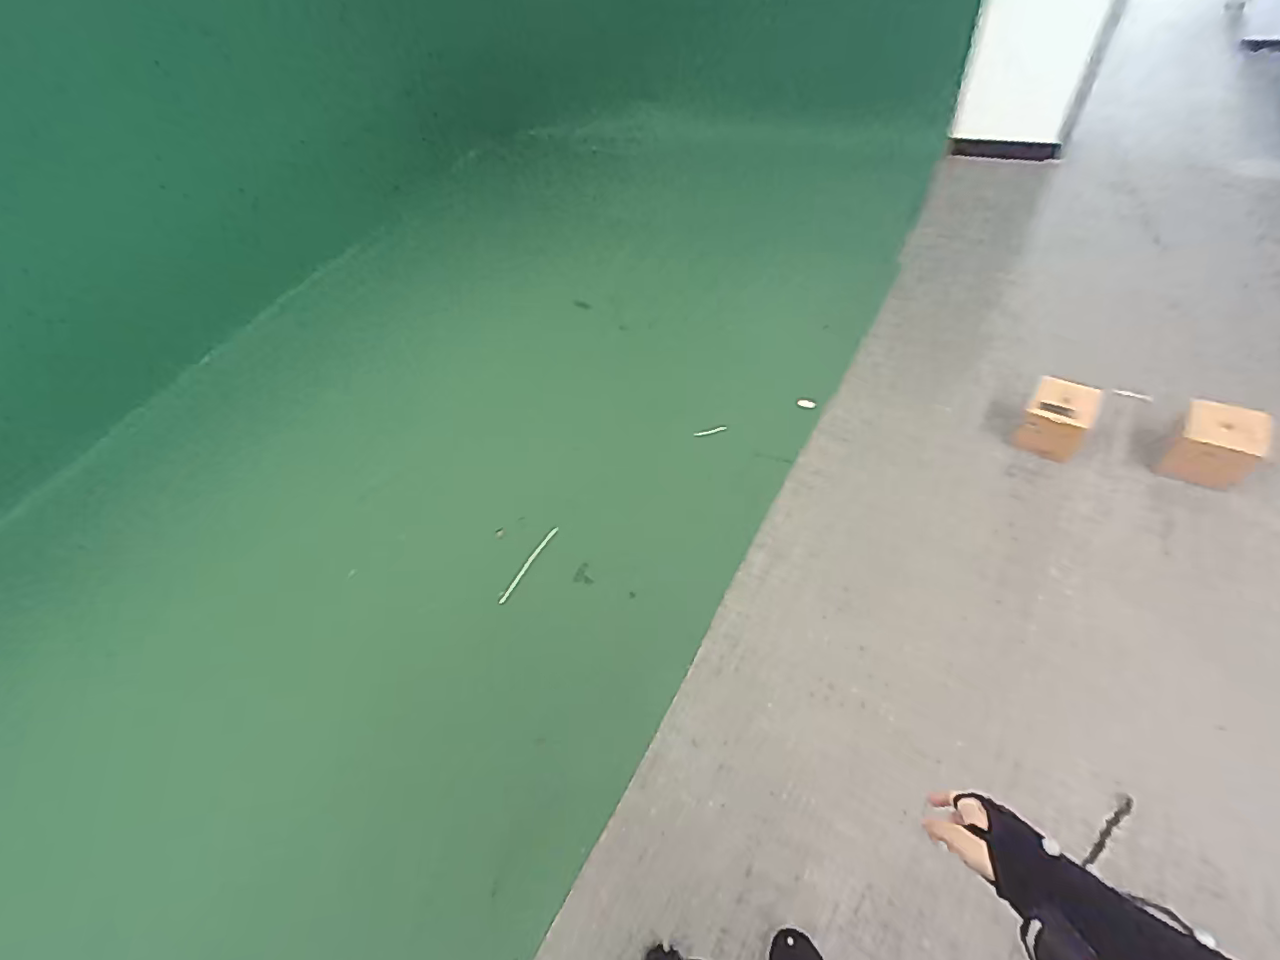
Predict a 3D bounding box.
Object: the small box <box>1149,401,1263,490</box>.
[{"bbox_3d":[1.647,-0.097,1.582,0.179,0.176,0.168,23,63,25],"label":"small box"}]
